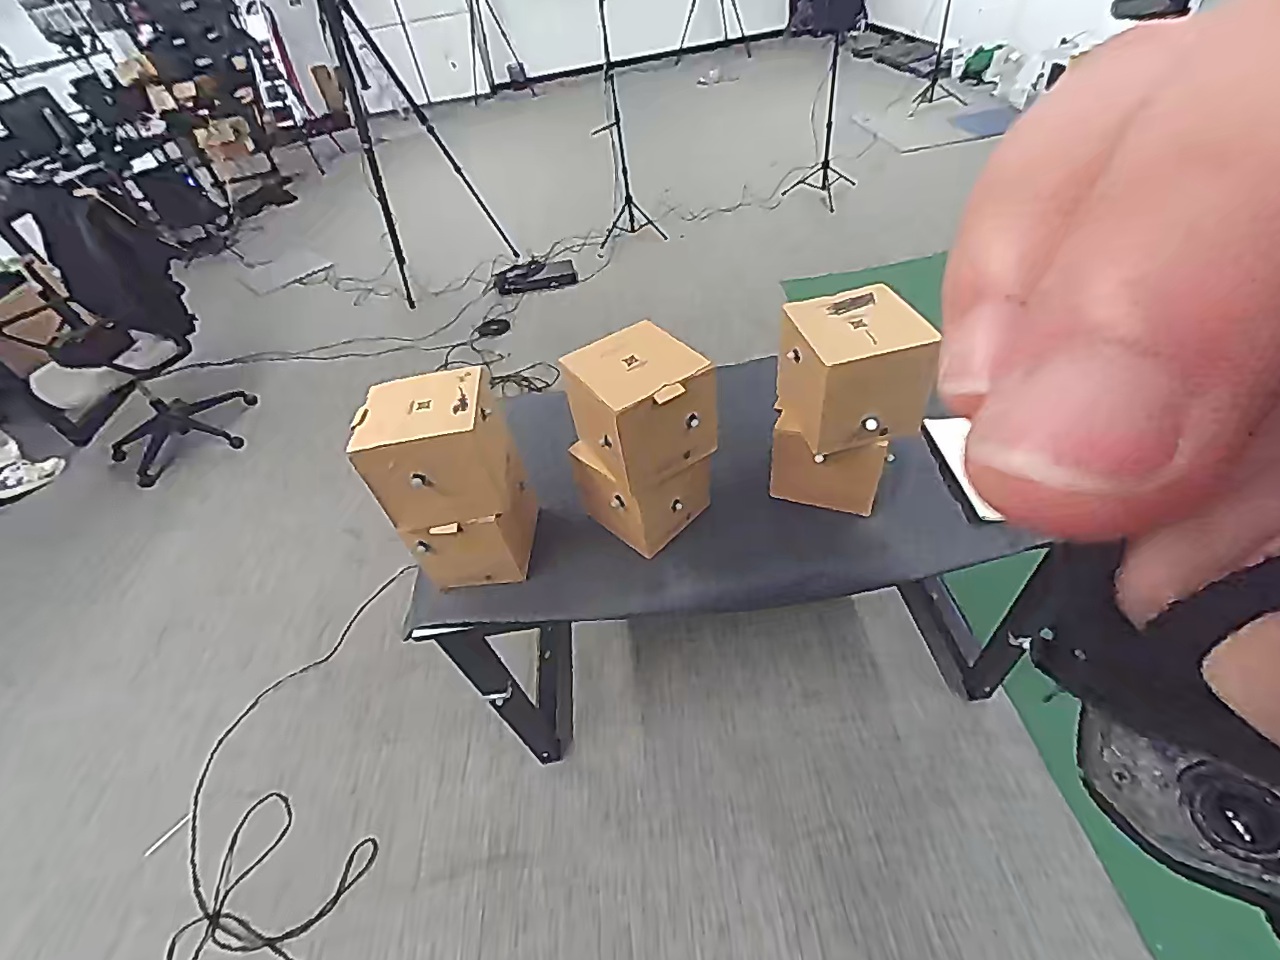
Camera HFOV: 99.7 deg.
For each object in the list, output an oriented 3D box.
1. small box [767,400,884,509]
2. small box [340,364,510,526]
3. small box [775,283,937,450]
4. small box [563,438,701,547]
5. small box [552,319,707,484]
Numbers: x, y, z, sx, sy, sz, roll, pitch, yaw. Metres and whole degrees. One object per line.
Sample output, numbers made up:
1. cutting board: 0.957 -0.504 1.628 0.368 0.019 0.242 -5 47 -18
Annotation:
1. small box: 0.333 -0.070 0.958 0.179 0.176 0.168 12 50 22
2. small box: -0.313 -0.049 0.828 0.179 0.176 0.168 -12 44 0
3. small box: 0.313 -0.173 0.830 0.168 0.176 0.179 -13 45 -1
4. small box: -0.005 -0.007 0.959 0.179 0.176 0.168 32 58 34
5. small box: -0.009 -0.116 0.838 0.168 0.176 0.179 -29 48 -19
